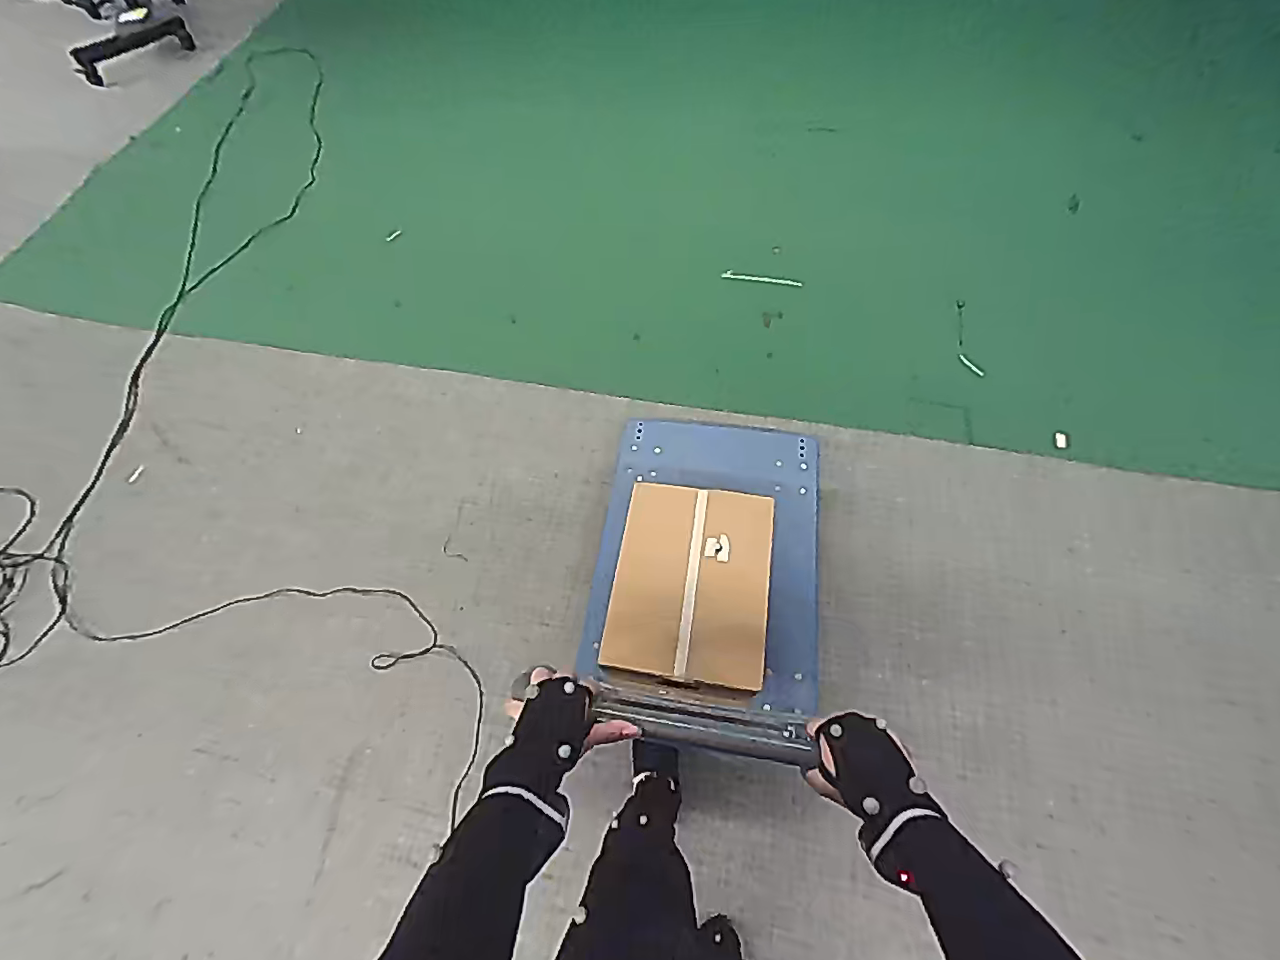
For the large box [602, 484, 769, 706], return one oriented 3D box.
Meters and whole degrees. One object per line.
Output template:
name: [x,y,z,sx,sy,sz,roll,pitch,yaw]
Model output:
large box: [0.114,0.270,1.242,0.320,0.320,0.408,7,61,7]
